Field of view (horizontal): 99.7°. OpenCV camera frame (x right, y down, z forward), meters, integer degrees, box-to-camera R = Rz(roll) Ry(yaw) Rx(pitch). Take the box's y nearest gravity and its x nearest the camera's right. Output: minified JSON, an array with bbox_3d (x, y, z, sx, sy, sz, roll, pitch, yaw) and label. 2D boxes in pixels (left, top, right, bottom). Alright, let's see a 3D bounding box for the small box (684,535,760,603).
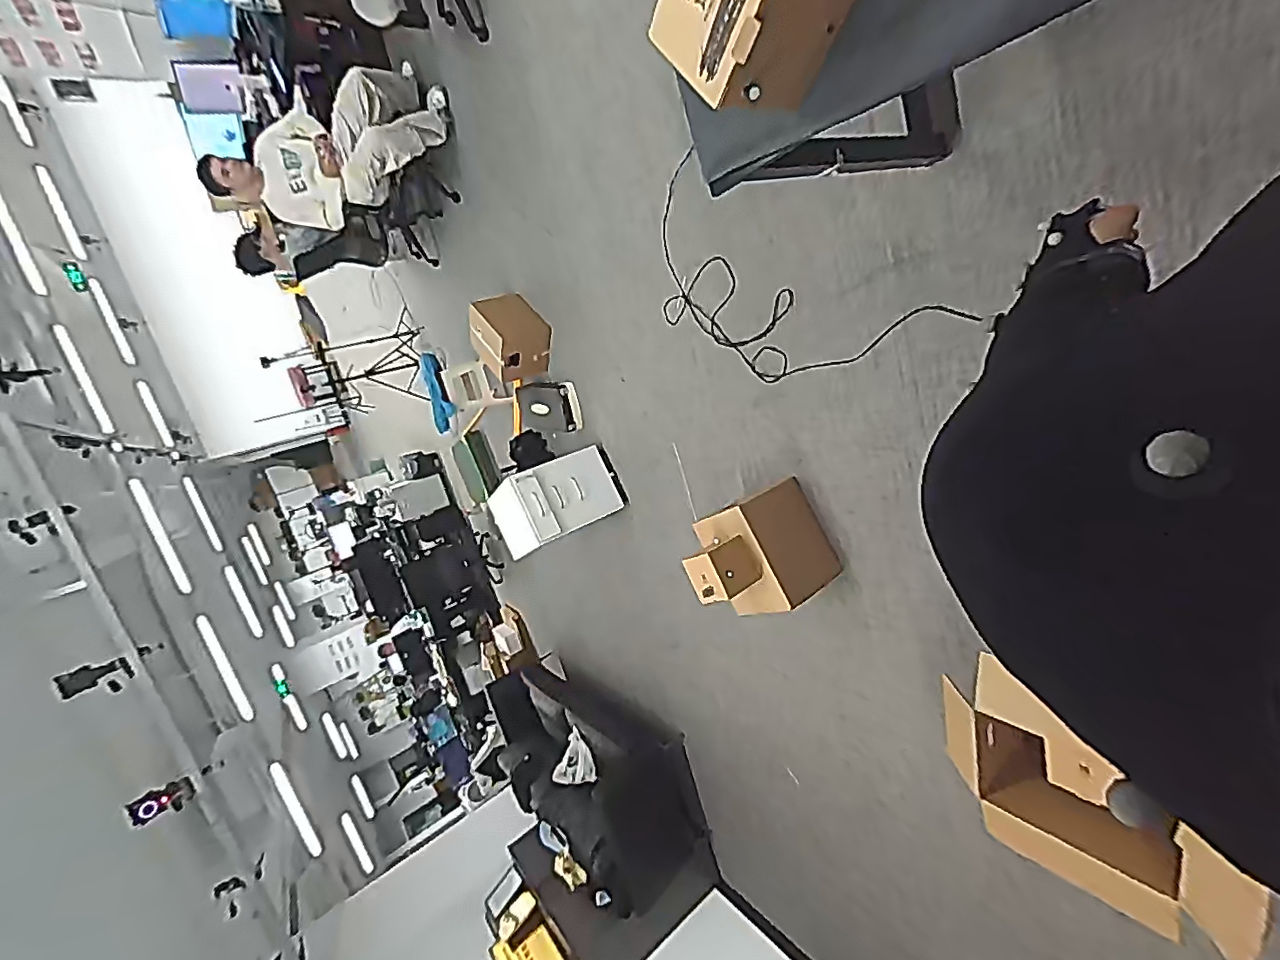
[{"bbox_3d":[0.296,0.318,1.929,0.168,0.176,0.179,-31,83,57],"label":"small box"}]
